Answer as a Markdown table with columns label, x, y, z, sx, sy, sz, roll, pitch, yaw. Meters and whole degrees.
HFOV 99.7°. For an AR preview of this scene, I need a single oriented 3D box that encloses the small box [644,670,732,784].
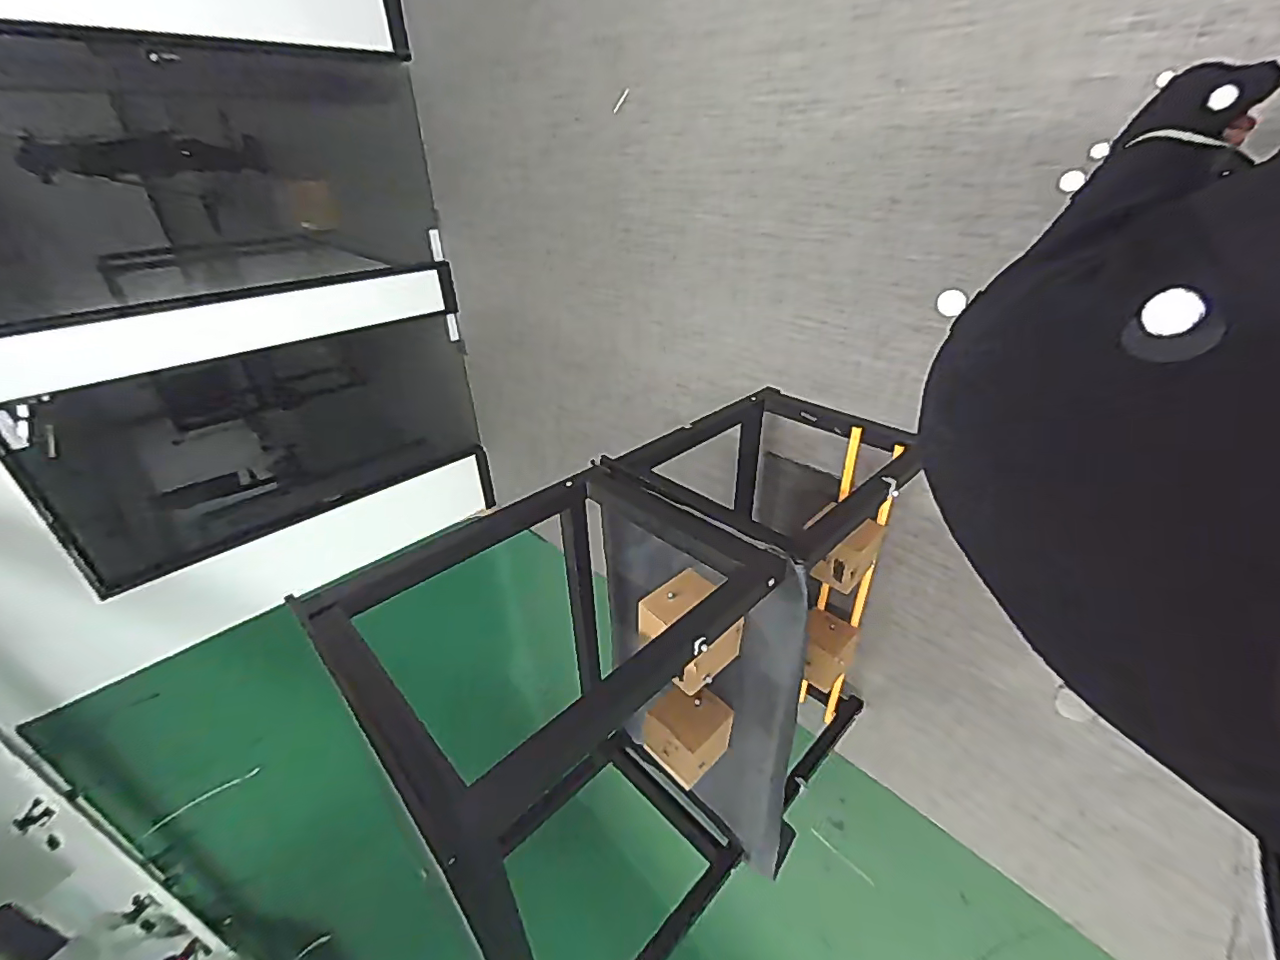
| label | x | y | z | sx | sy | sz | roll | pitch | yaw |
| --- | --- | --- | --- | --- | --- | --- | --- | --- | --- |
| small box | 0.128 | 0.649 | 1.435 | 0.168 | 0.176 | 0.179 | 30 | 133 | 36 |

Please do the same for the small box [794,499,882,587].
| label | x | y | z | sx | sy | sz | roll | pitch | yaw |
| --- | --- | --- | --- | --- | --- | --- | --- | --- | --- |
| small box | 0.596 | 0.181 | 1.622 | 0.179 | 0.176 | 0.168 | 30 | 133 | 35 |
